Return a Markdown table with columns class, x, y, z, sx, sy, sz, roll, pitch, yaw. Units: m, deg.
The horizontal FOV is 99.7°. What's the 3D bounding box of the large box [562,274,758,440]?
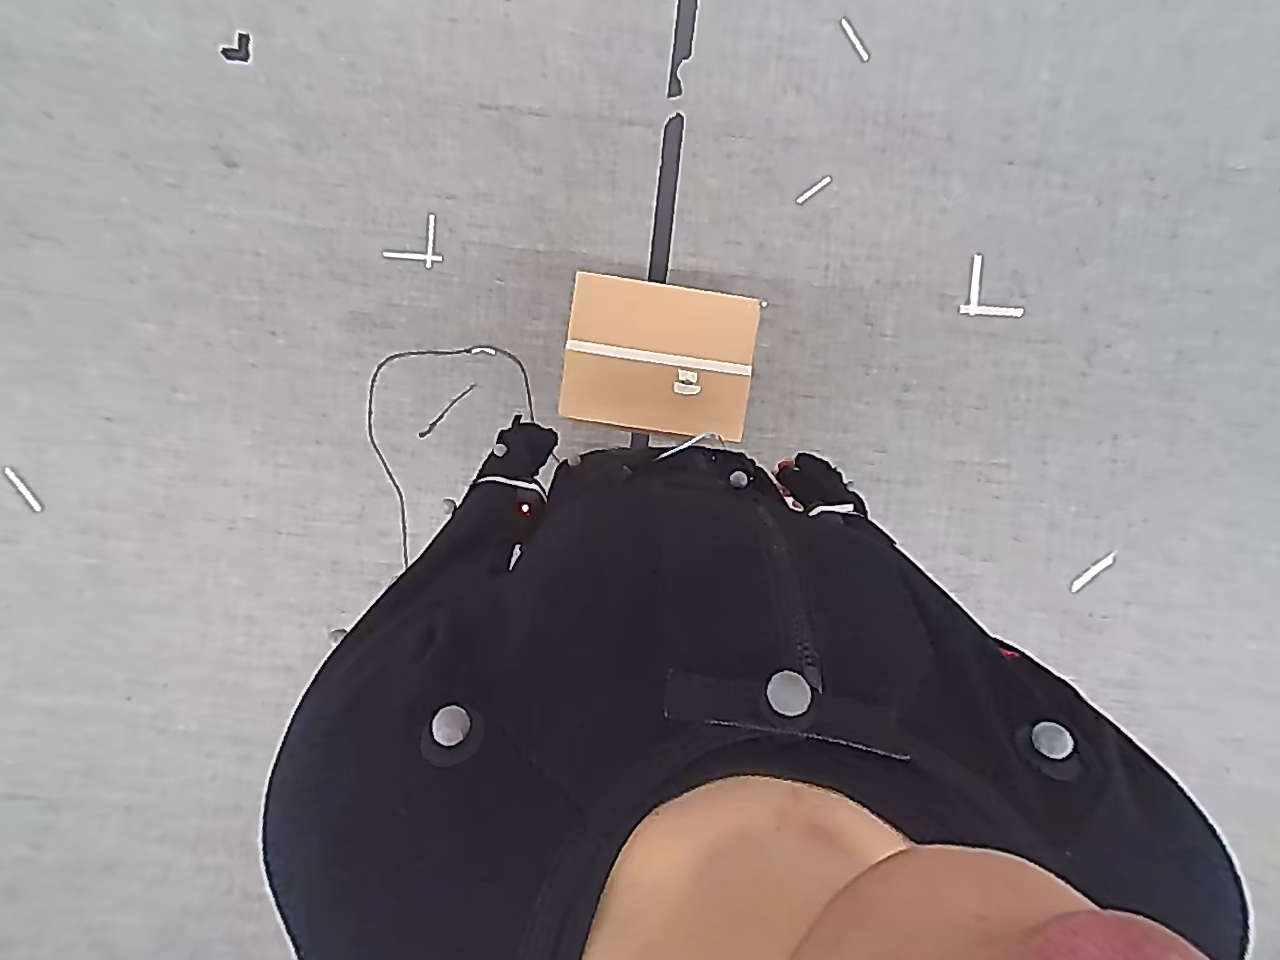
| class | x | y | z | sx | sy | sz | roll | pitch | yaw |
| --- | --- | --- | --- | --- | --- | --- | --- | --- | --- |
| large box | 0.035 | -0.277 | 1.326 | 0.408 | 0.320 | 0.320 | 8 | 94 | -3 |
